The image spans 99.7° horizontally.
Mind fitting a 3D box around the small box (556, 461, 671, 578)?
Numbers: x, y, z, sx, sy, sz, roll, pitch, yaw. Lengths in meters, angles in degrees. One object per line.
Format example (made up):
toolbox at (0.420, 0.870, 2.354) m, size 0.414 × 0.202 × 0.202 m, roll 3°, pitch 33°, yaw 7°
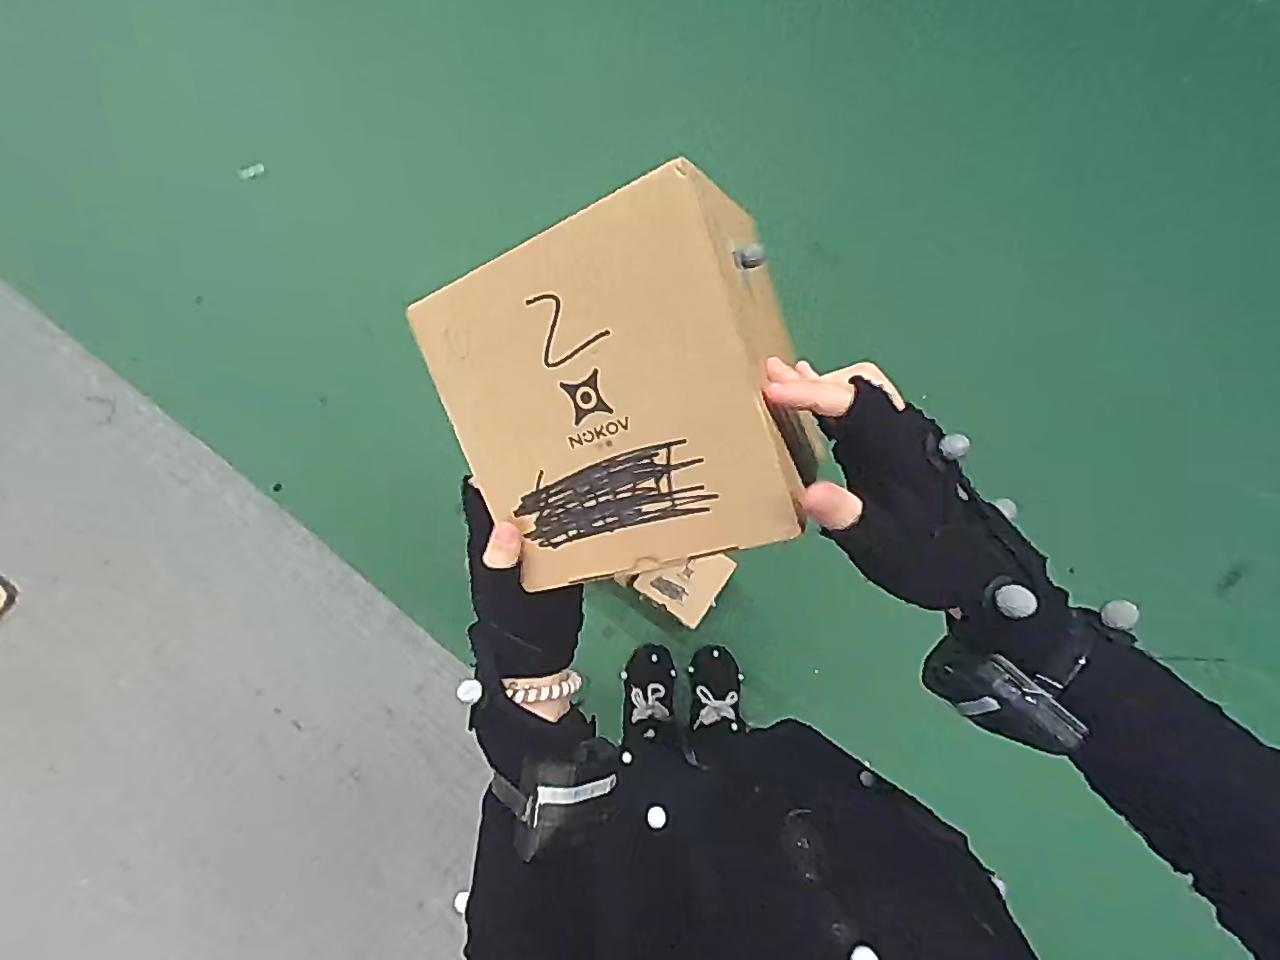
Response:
small box at (-0.054, 0.090, 1.136) m, size 0.168 × 0.176 × 0.179 m, roll 32°, pitch 80°, yaw 7°
